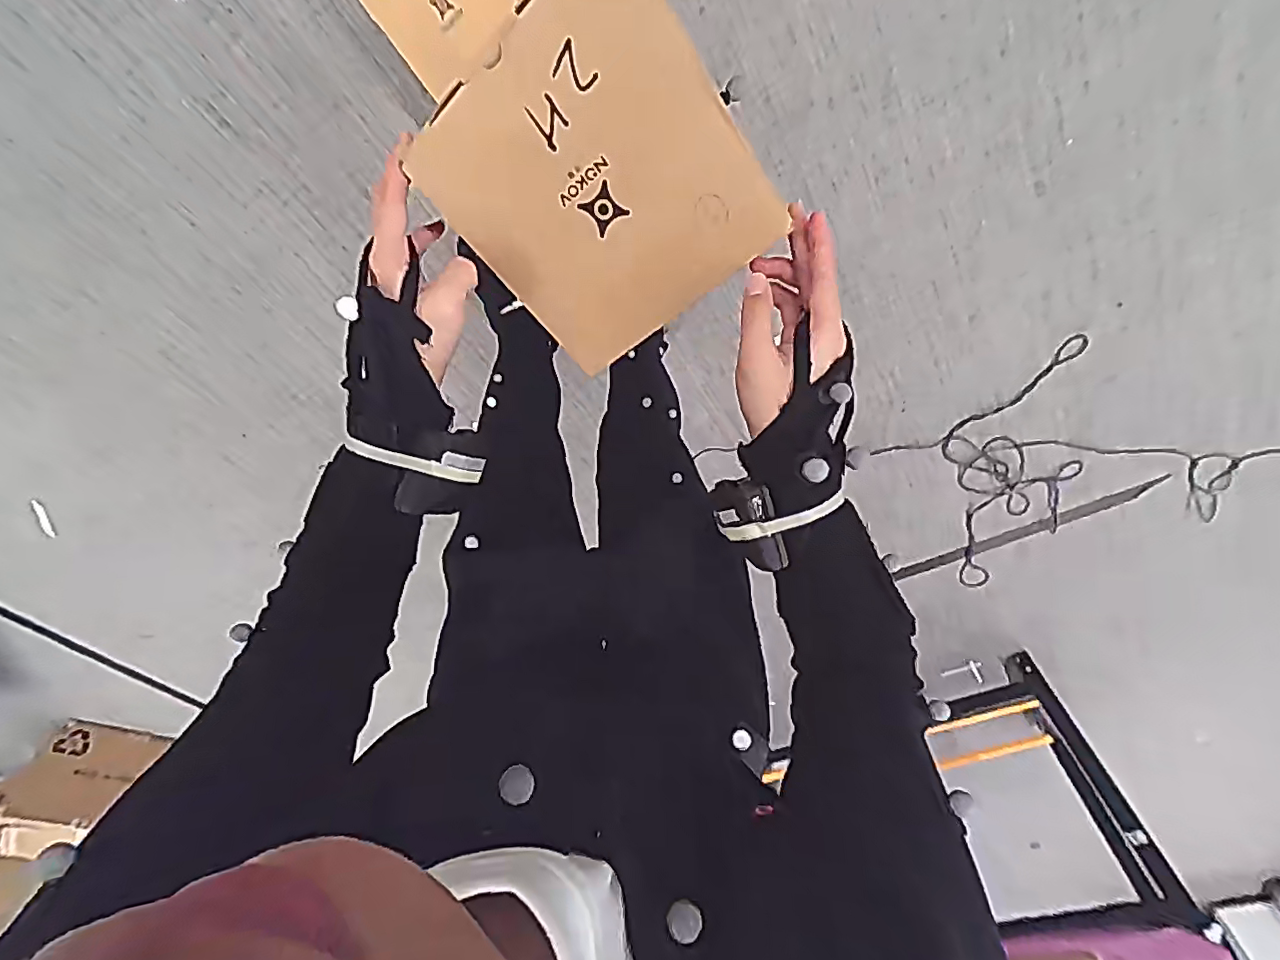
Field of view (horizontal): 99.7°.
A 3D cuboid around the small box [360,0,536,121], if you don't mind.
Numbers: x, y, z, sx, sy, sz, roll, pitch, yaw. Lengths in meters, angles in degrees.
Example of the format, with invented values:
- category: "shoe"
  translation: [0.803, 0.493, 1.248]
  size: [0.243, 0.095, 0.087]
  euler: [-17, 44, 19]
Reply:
- category: "small box"
  translation: [-0.245, -0.639, 0.752]
  size: [0.168, 0.176, 0.179]
  euler: [-29, 123, 20]

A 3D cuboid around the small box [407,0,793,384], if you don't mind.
- category: "small box"
  translation: [-0.014, -0.208, 0.380]
  size: [0.168, 0.176, 0.179]
  euler: [-31, 118, 26]
